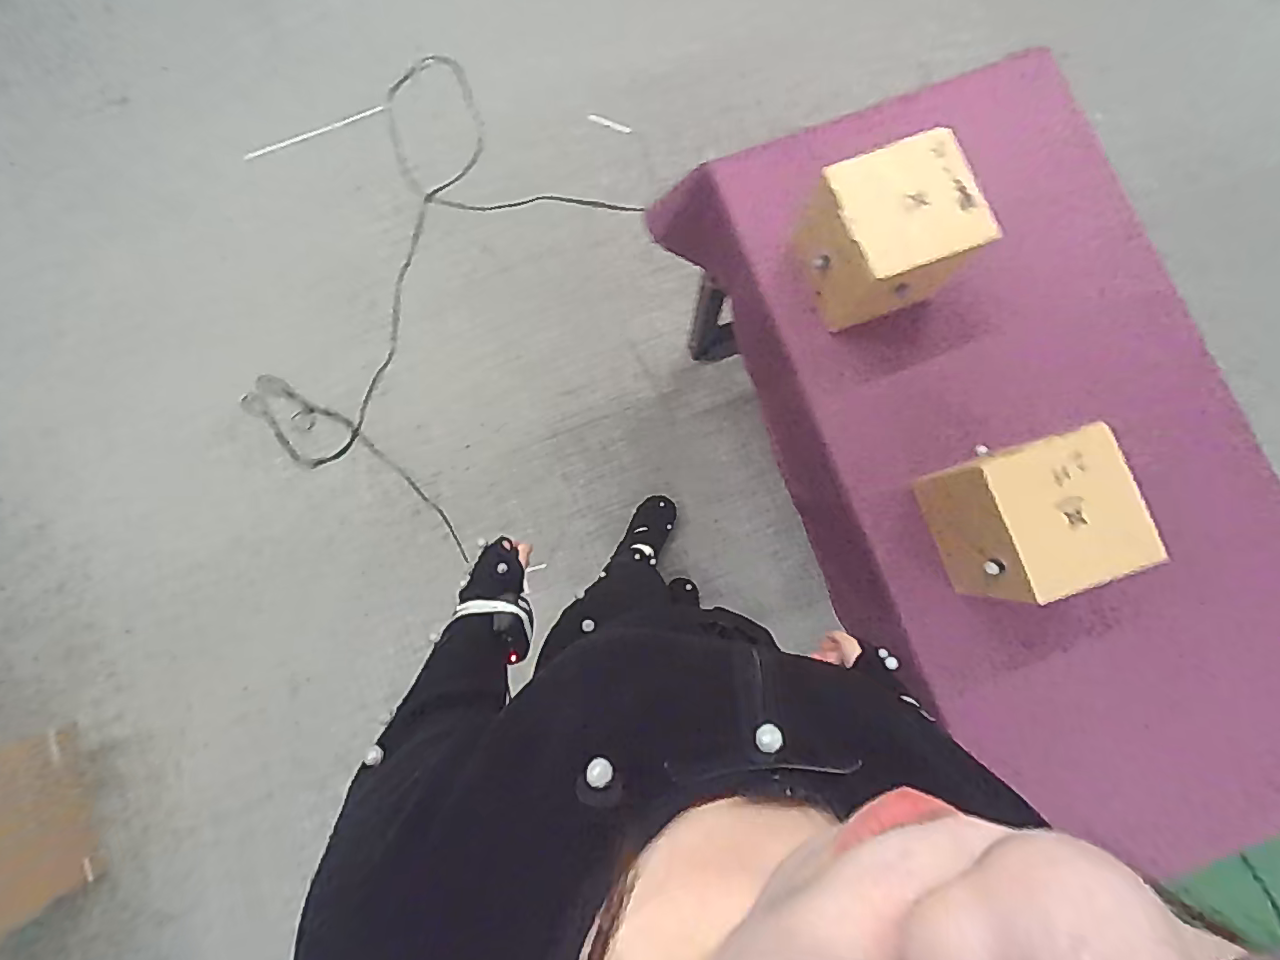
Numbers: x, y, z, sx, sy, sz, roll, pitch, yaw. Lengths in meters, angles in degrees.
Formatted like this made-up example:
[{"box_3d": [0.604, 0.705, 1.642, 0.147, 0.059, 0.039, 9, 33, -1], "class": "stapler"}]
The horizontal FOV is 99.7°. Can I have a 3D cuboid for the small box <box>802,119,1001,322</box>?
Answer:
[{"box_3d": [0.344, -0.347, 0.758, 0.179, 0.176, 0.168, -20, 83, -1], "class": "small box"}]

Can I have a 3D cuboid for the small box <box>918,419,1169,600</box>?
[{"box_3d": [0.503, 0.041, 0.705, 0.168, 0.176, 0.179, -18, 82, -2], "class": "small box"}]
